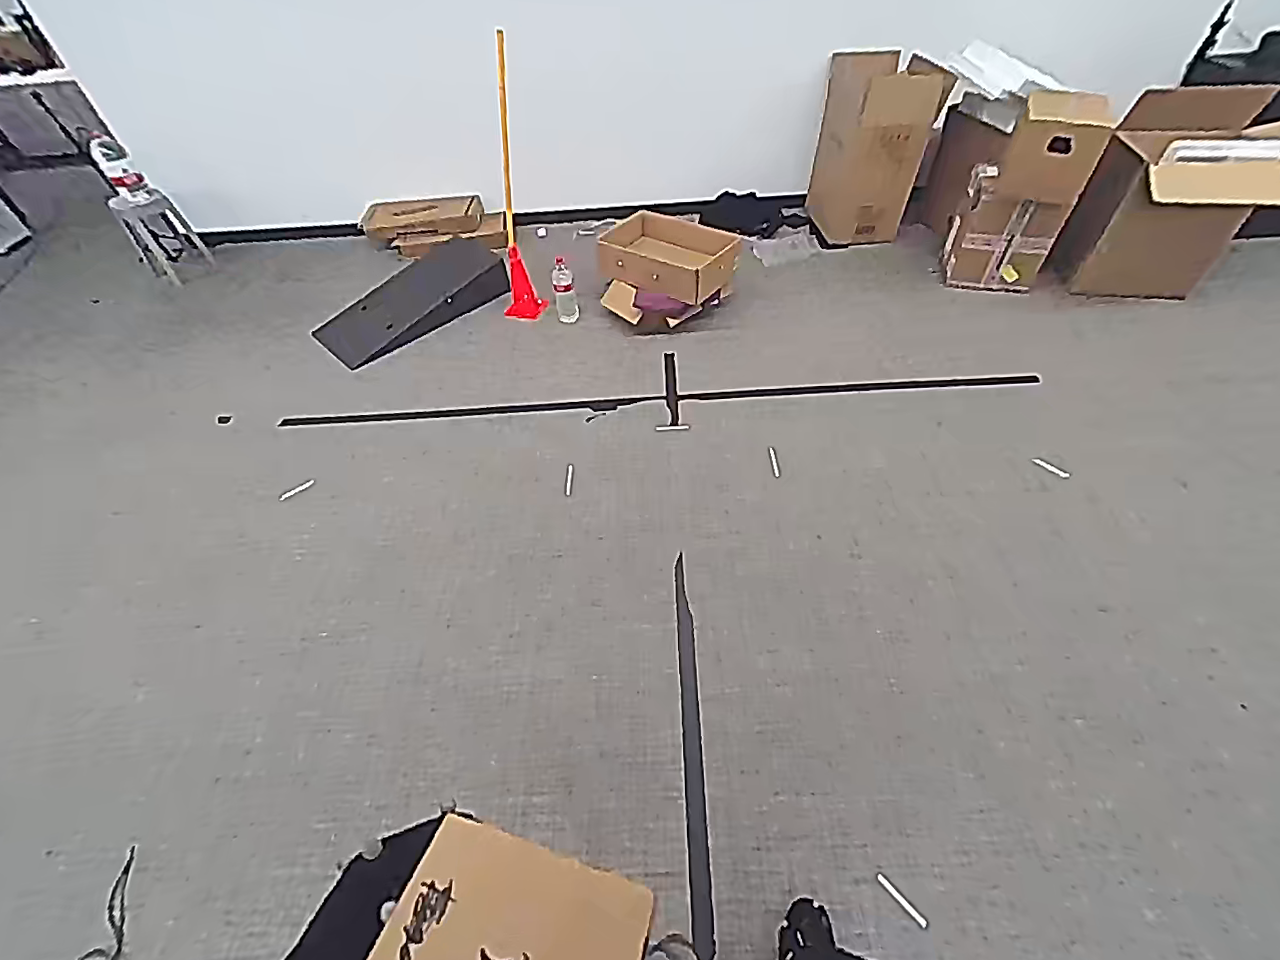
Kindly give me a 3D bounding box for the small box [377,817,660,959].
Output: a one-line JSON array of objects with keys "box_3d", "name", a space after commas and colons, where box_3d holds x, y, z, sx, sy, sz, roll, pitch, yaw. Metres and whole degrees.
[{"box_3d": [-0.100, 0.398, 0.397, 0.179, 0.176, 0.168, 16, 32, 7], "name": "small box"}]
